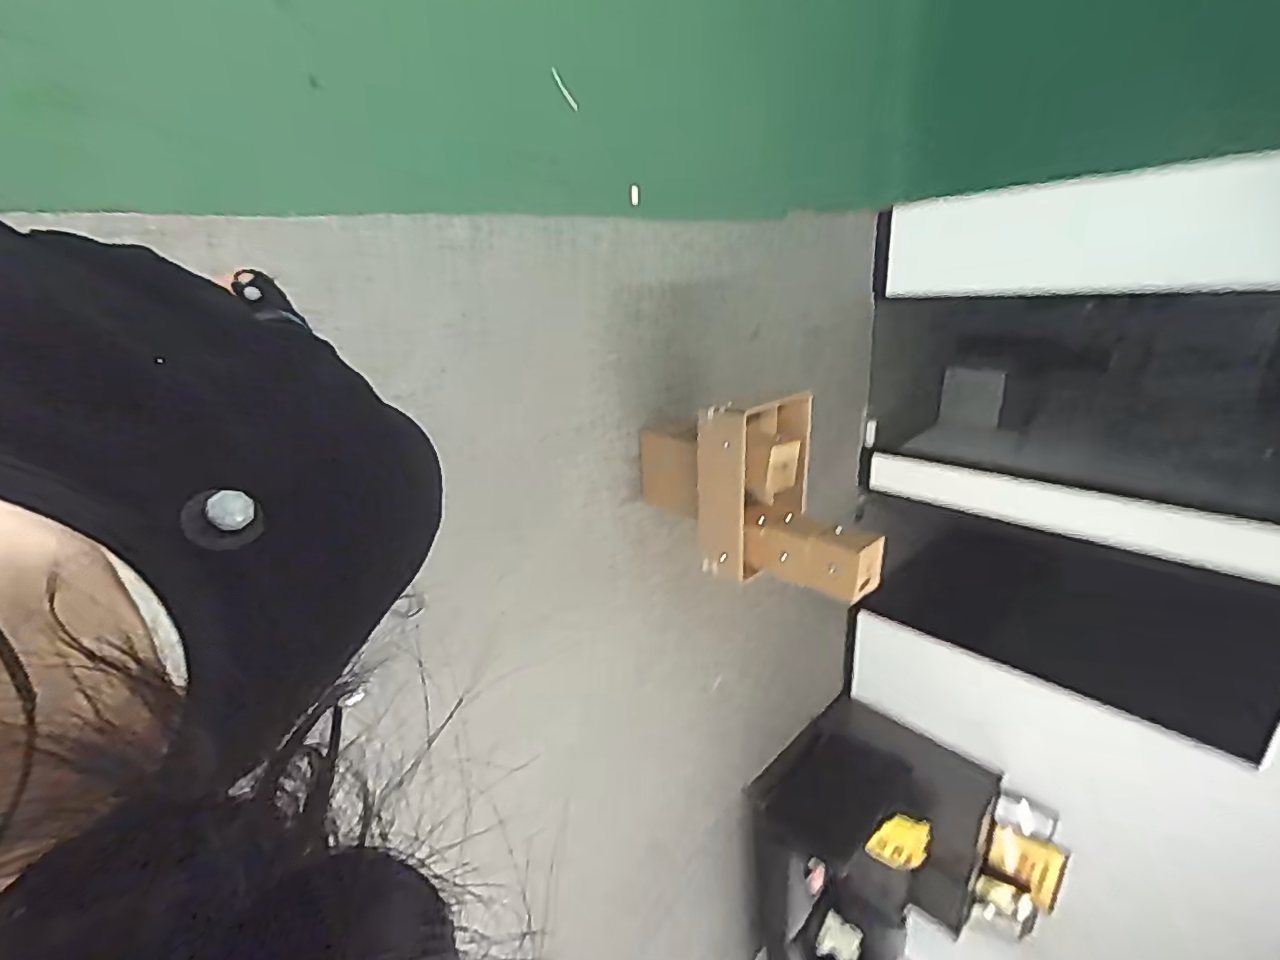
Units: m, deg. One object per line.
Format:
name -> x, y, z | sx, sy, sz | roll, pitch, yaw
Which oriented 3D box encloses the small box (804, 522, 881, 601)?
small box -> 0.640, 0.252, 1.722 | 0.168, 0.176, 0.179 | -16, 113, -40
